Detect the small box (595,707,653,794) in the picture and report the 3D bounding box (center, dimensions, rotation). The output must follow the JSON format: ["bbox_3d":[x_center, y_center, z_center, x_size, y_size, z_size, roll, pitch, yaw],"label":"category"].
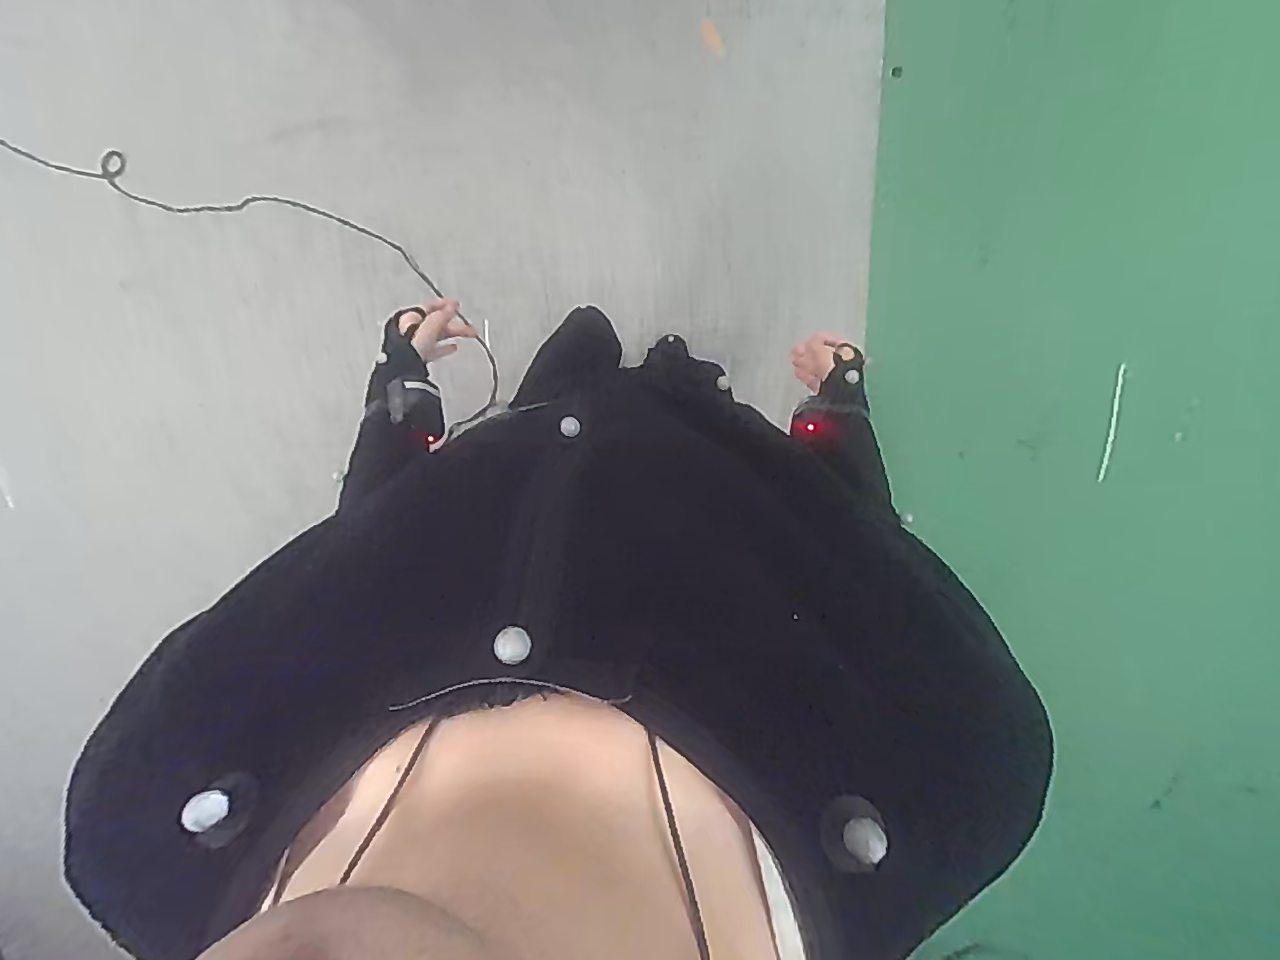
[{"bbox_3d":[-0.048,0.820,1.655,0.168,0.176,0.179,3,105,2],"label":"small box"}]
